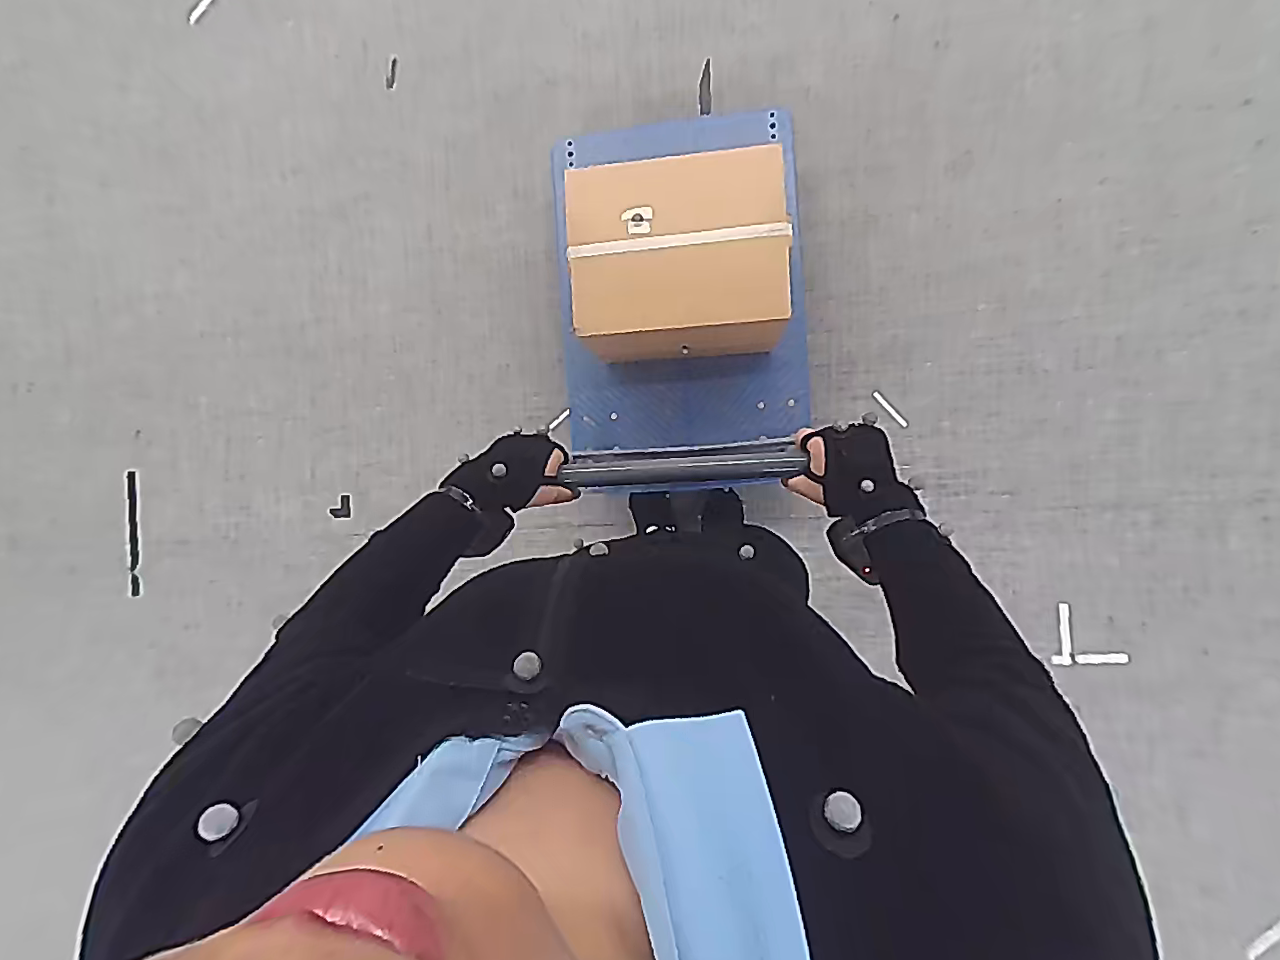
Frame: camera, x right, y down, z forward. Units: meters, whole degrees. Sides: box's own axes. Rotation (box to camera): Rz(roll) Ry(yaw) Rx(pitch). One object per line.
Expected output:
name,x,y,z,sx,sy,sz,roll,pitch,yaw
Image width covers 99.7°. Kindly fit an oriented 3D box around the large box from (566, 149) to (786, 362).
large box,0.086,-0.446,1.163,0.408,0.320,0.320,-3,91,8
